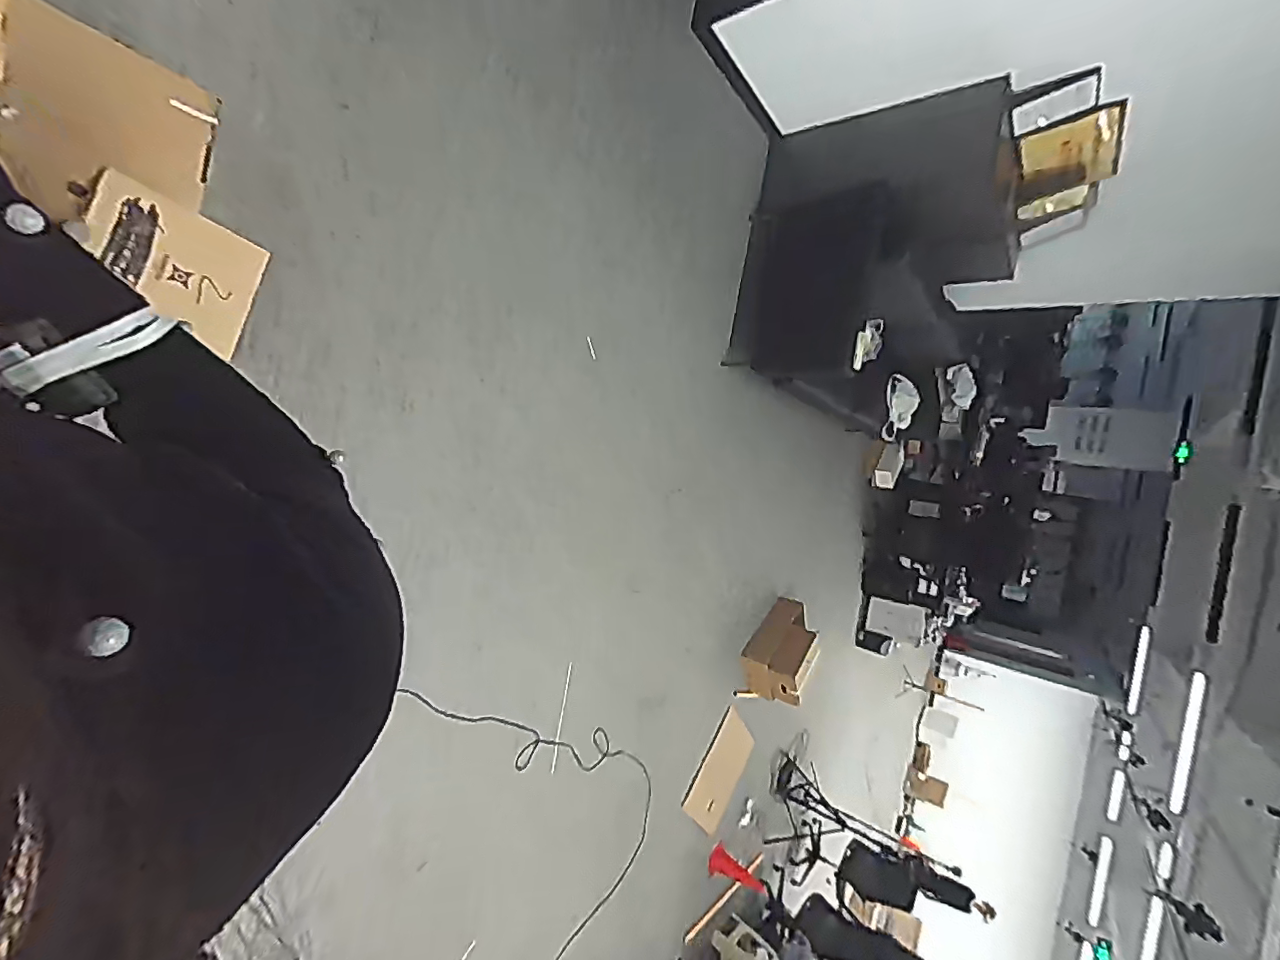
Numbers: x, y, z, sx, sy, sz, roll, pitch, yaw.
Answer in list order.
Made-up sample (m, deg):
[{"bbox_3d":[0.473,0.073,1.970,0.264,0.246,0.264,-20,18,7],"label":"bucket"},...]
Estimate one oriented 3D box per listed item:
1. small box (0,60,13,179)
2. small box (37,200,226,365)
[{"bbox_3d":[-0.897,-0.453,0.646,0.179,0.176,0.168,7,90,-51],"label":"small box"},{"bbox_3d":[-0.776,-0.286,0.826,0.168,0.176,0.179,17,83,-52],"label":"small box"}]
